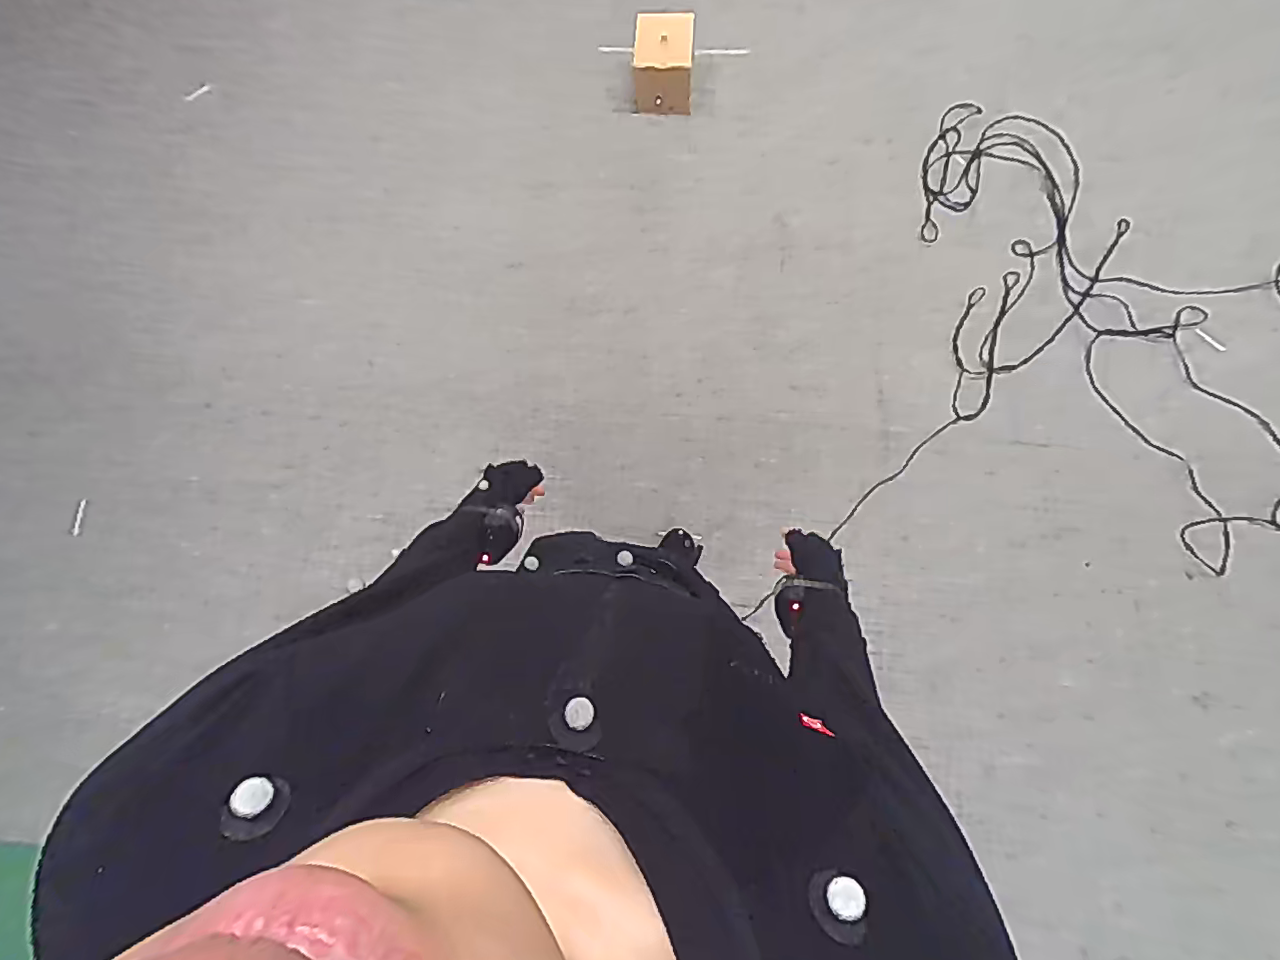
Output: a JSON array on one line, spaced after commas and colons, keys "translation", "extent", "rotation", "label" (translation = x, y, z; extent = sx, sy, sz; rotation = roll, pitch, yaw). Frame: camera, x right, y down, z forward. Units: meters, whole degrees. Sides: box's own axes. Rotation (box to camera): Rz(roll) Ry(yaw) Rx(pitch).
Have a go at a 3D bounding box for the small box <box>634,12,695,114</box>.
[{"translation": [0.073, -1.231, 1.603], "extent": [0.168, 0.176, 0.179], "rotation": [3, 83, 4], "label": "small box"}]
